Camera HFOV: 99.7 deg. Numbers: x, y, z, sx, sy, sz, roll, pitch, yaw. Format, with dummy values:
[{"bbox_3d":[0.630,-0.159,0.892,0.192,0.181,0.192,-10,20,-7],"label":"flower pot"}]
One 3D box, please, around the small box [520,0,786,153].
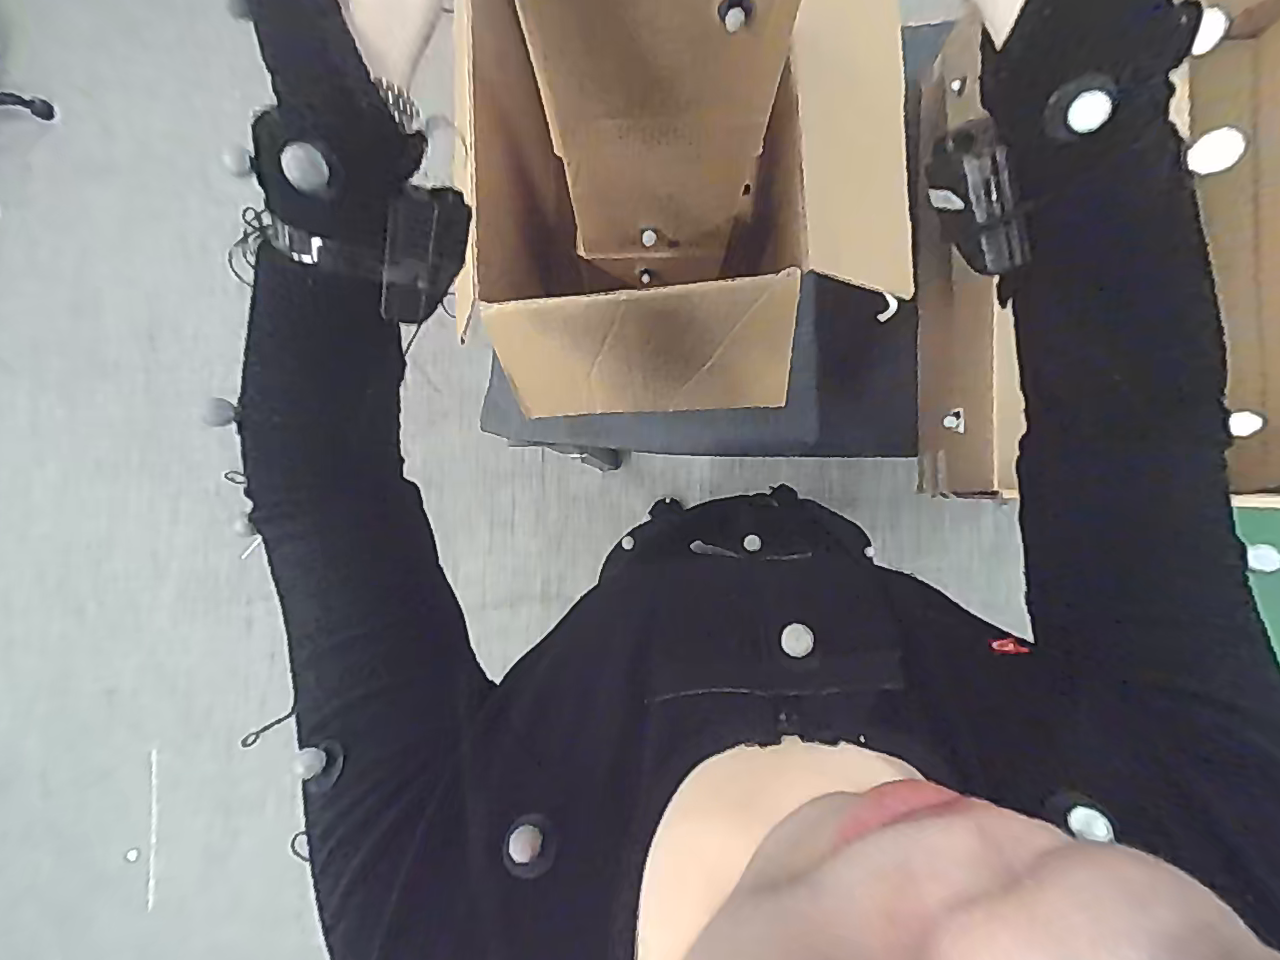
[{"bbox_3d":[0.009,-0.365,0.388,0.179,0.176,0.168,0,86,0],"label":"small box"}]
